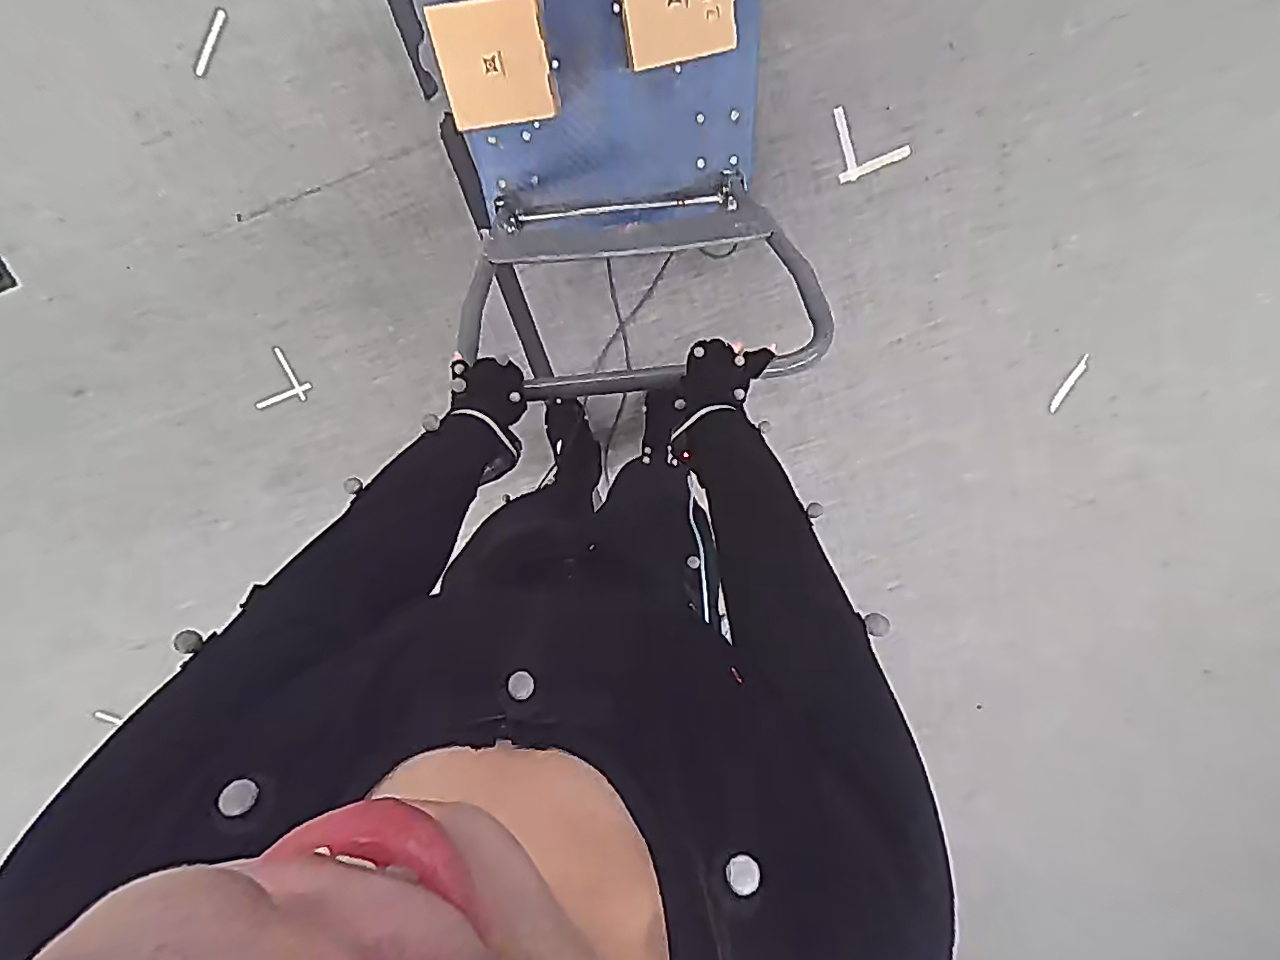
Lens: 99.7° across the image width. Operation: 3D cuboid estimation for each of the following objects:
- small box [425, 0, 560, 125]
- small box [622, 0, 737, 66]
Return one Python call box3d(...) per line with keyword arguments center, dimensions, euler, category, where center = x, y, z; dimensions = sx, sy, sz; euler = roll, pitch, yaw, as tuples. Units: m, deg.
box3d(center=(-0.243, -0.732, 0.942), dimensions=(0.179, 0.176, 0.168), euler=(-8, 129, 1), category="small box")
box3d(center=(0.057, -0.809, 0.901), dimensions=(0.179, 0.176, 0.168), euler=(-10, 129, 4), category="small box")
